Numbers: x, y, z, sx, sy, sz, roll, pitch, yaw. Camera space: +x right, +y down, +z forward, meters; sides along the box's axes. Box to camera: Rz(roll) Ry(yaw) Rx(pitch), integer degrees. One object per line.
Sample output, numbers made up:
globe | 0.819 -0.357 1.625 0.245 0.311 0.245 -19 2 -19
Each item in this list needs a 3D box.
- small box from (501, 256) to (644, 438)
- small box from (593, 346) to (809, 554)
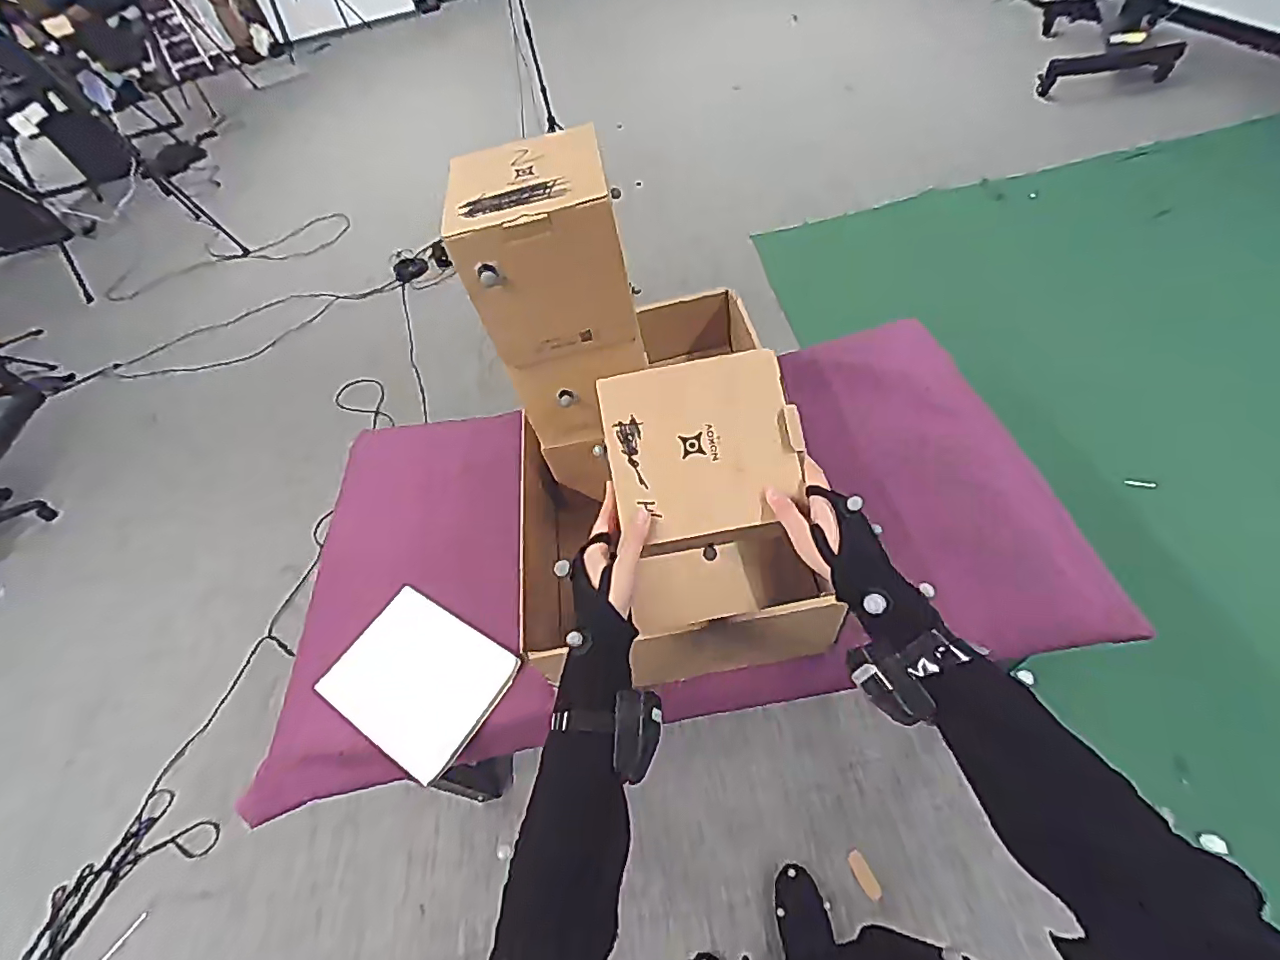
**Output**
small box | -0.083 -0.176 0.757 0.168 0.176 0.179 -10 53 4
small box | 0.054 -0.019 0.569 0.179 0.176 0.168 -10 77 -1
